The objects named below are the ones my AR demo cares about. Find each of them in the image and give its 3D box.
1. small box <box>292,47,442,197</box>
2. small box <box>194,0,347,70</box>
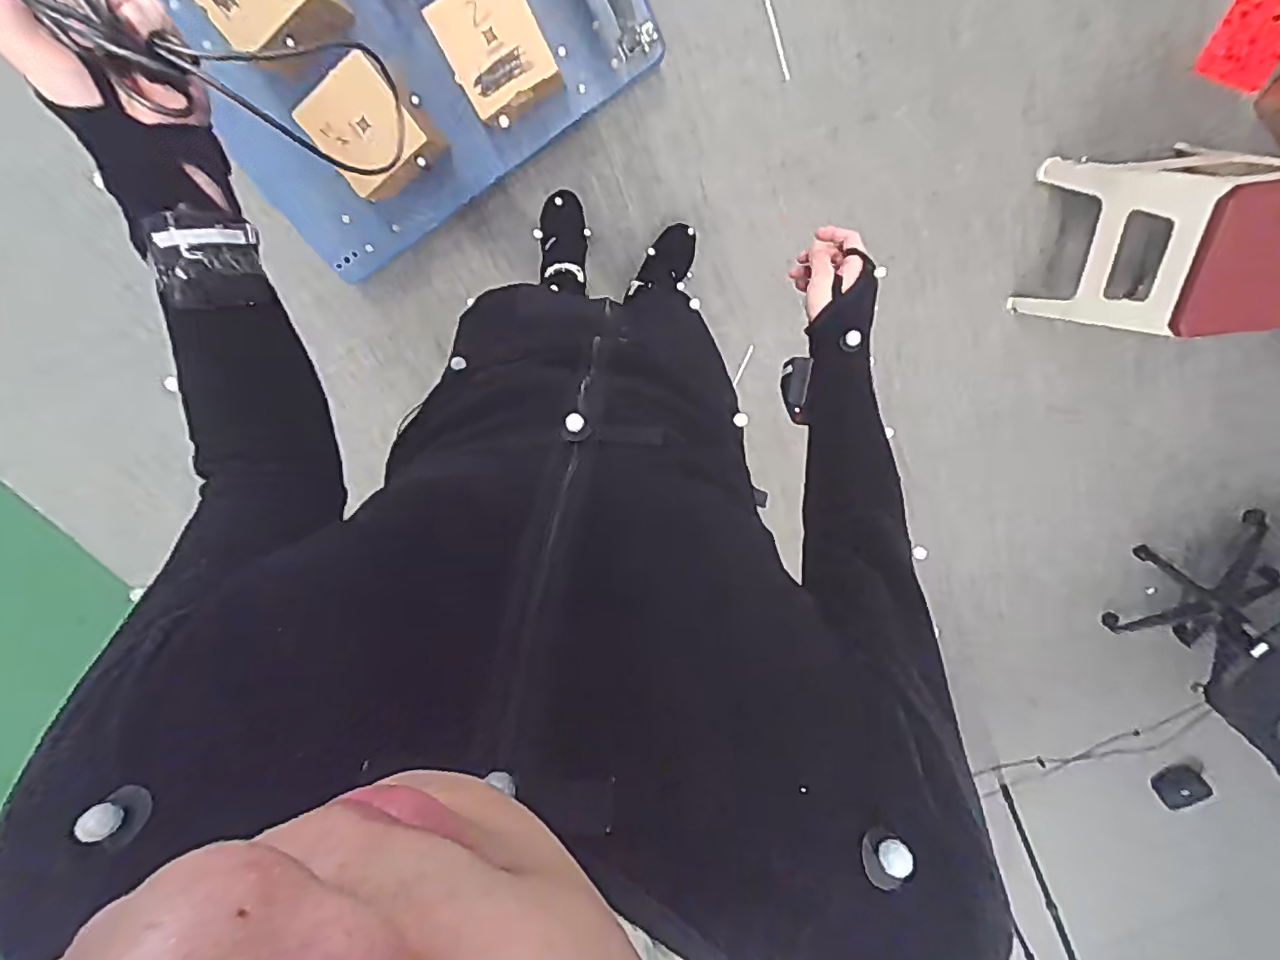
[{"bbox_3d":[-0.507,-0.676,1.038,0.179,0.176,0.168,-32,116,14],"label":"small box"},{"bbox_3d":[-0.650,-0.851,0.929,0.179,0.176,0.168,-32,117,13],"label":"small box"}]
